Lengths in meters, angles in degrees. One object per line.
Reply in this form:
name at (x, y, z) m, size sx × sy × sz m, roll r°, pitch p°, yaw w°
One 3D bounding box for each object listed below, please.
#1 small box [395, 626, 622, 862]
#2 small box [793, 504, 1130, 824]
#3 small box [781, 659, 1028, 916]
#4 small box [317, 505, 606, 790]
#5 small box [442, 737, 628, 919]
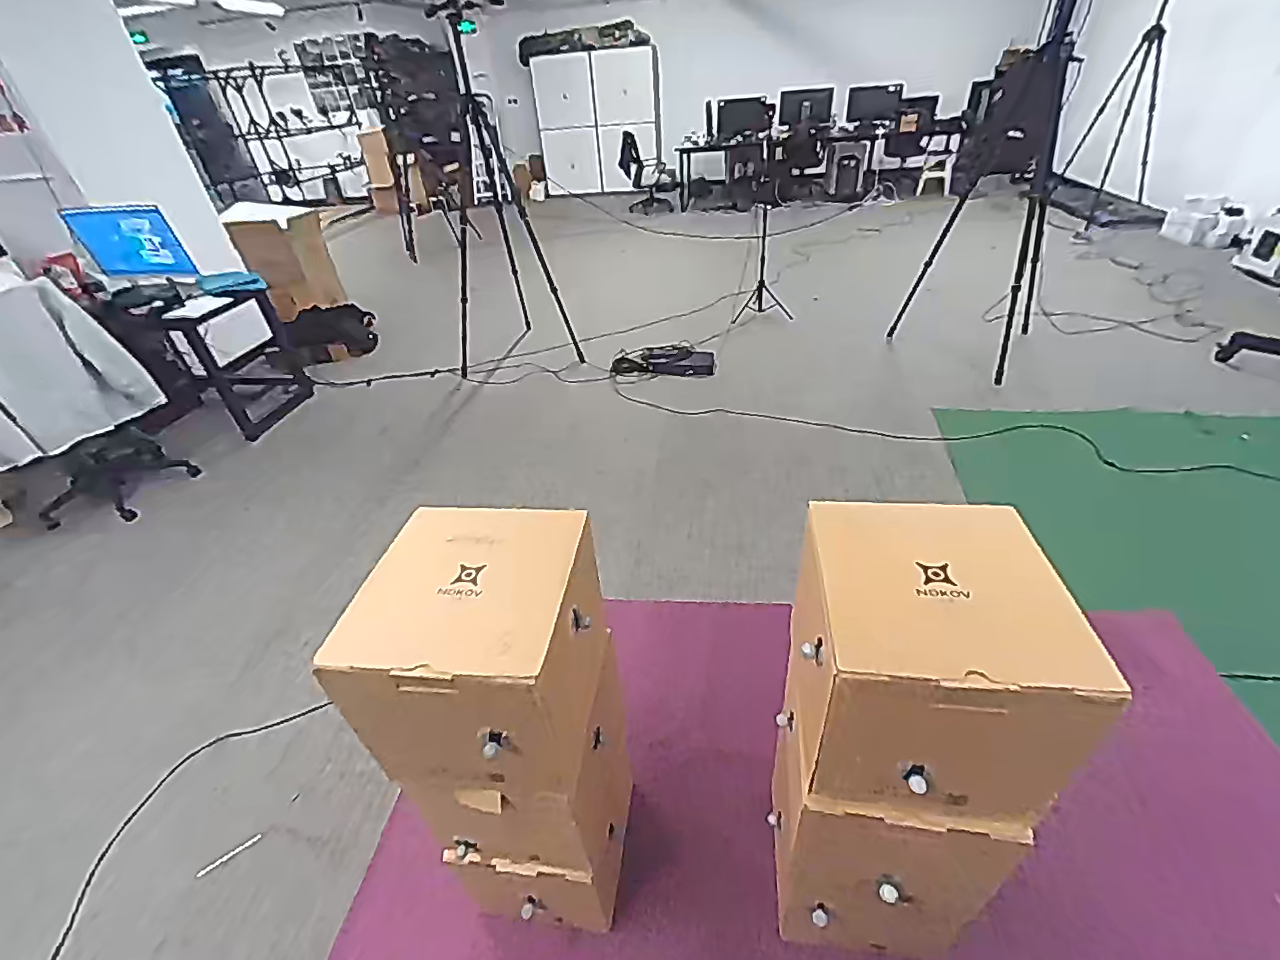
small box at (-0.118, 0.271, 0.576) m, size 0.168 × 0.176 × 0.179 m, roll 3°, pitch 36°, yaw 10°
small box at (0.221, 0.141, 0.438) m, size 0.168 × 0.176 × 0.179 m, roll 2°, pitch 38°, yaw 9°
small box at (0.229, 0.278, 0.526) m, size 0.168 × 0.176 × 0.179 m, roll 3°, pitch 38°, yaw 11°
small box at (-0.129, 0.143, 0.475) m, size 0.168 × 0.176 × 0.179 m, roll 2°, pitch 37°, yaw 8°
small box at (-0.111, 0.407, 0.669) m, size 0.168 × 0.176 × 0.179 m, roll 3°, pitch 38°, yaw 9°
